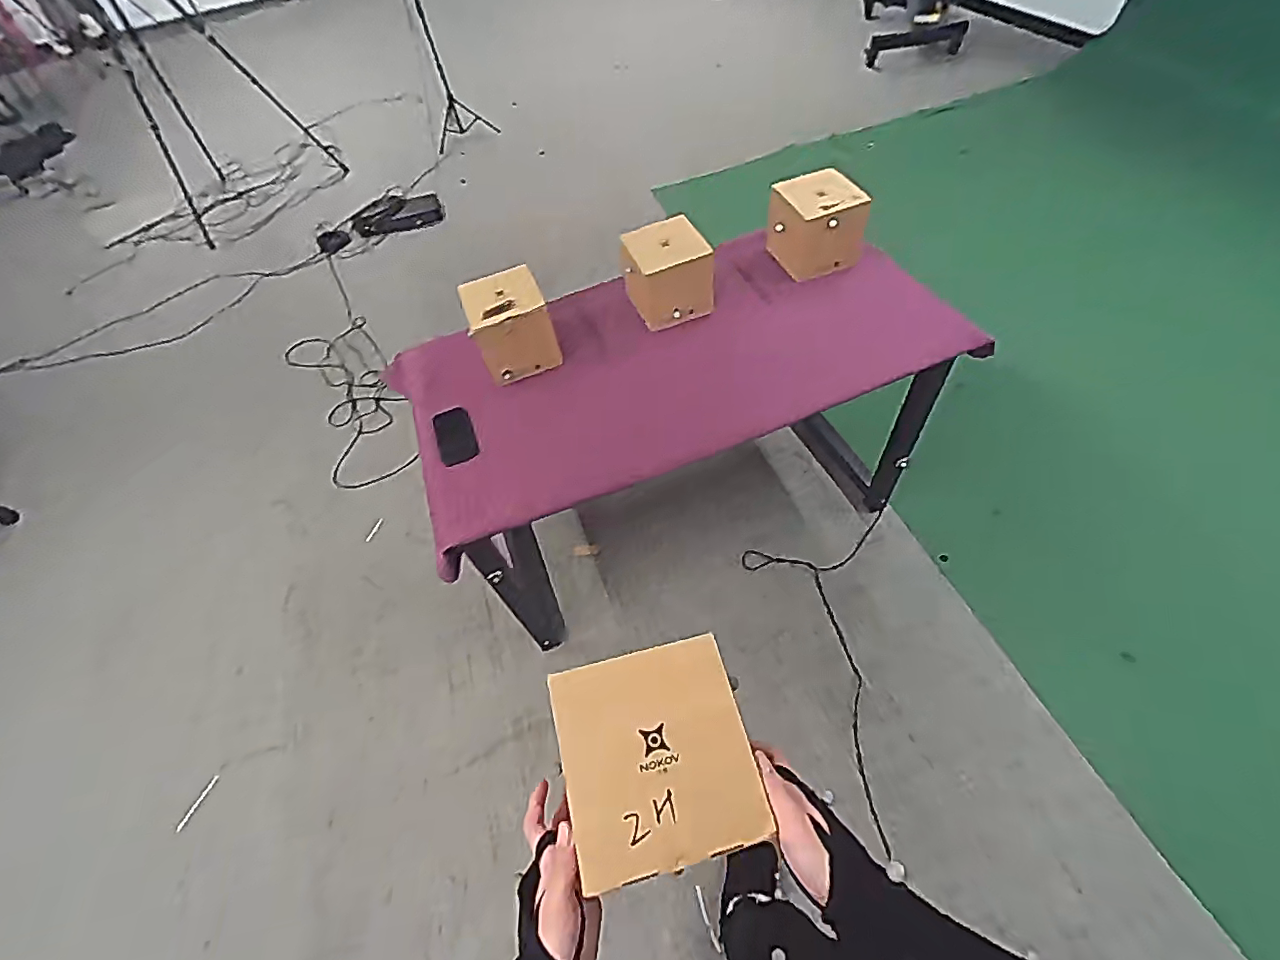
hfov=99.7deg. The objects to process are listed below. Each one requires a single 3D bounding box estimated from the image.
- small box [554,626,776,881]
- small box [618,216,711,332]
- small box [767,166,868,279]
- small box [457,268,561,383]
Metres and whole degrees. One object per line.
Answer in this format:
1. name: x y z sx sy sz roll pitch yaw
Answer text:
1. small box: 0.014 0.270 0.545 0.168 0.176 0.179 -12 61 -7
2. small box: 0.059 -0.486 1.284 0.168 0.176 0.179 -21 56 -5
3. small box: 0.422 -0.626 1.321 0.168 0.176 0.179 -21 55 -4
4. small box: -0.296 -0.346 1.239 0.168 0.176 0.179 -22 55 -6
